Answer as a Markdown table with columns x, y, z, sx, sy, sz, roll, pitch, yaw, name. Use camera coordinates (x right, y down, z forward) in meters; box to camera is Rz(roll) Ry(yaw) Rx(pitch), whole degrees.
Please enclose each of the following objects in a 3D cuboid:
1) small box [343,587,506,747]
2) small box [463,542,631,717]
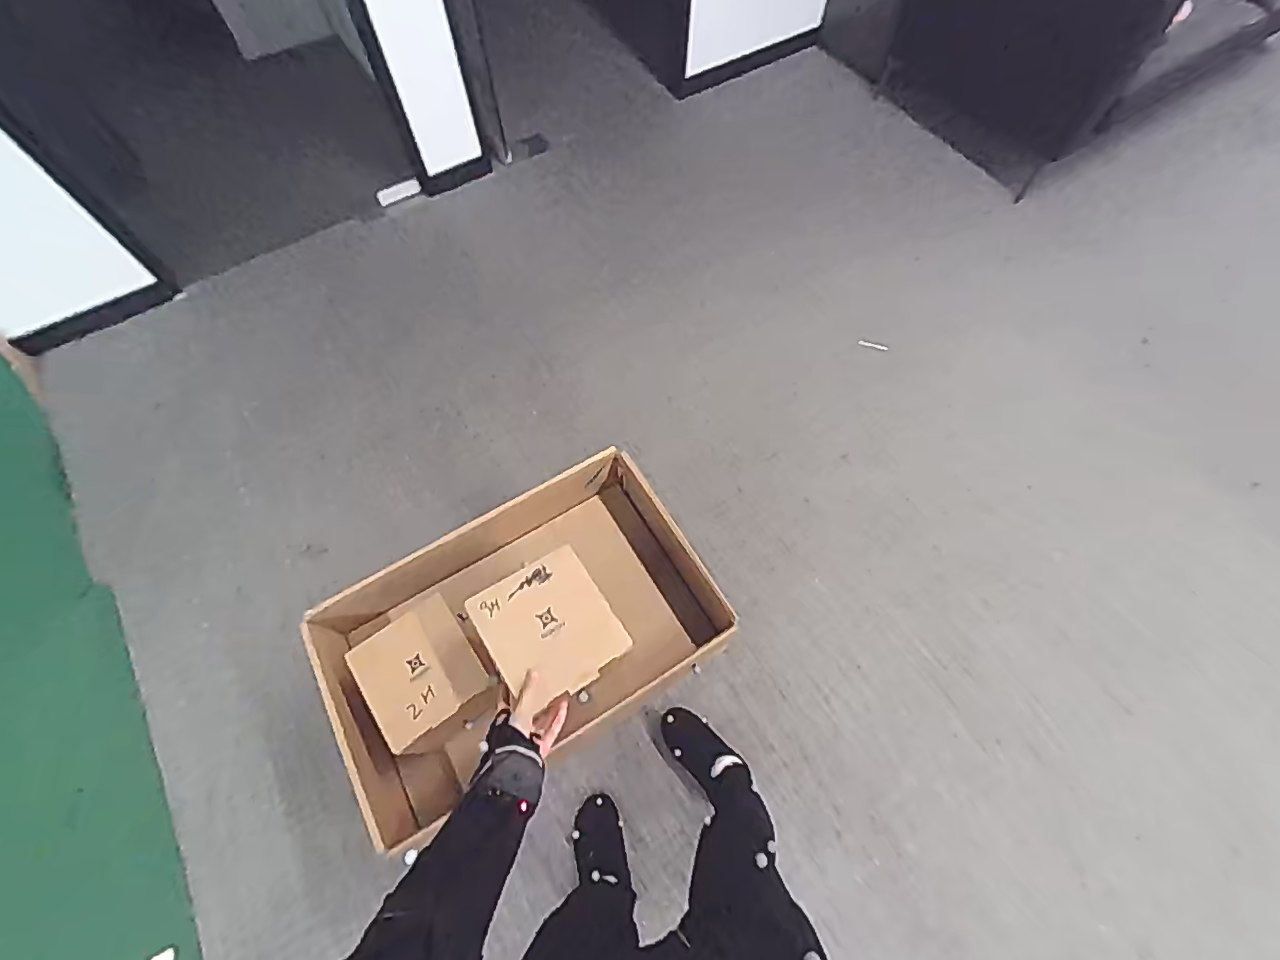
| x | y | z | sx | sy | sz | roll | pitch | yaw | name |
| --- | --- | --- | --- | --- | --- | --- | --- | --- | --- |
| -0.338 | 0.308 | 0.881 | 0.168 | 0.176 | 0.179 | -33 | 70 | -14 | small box |
| -0.136 | 0.224 | 0.787 | 0.168 | 0.176 | 0.179 | -27 | 70 | -24 | small box |
